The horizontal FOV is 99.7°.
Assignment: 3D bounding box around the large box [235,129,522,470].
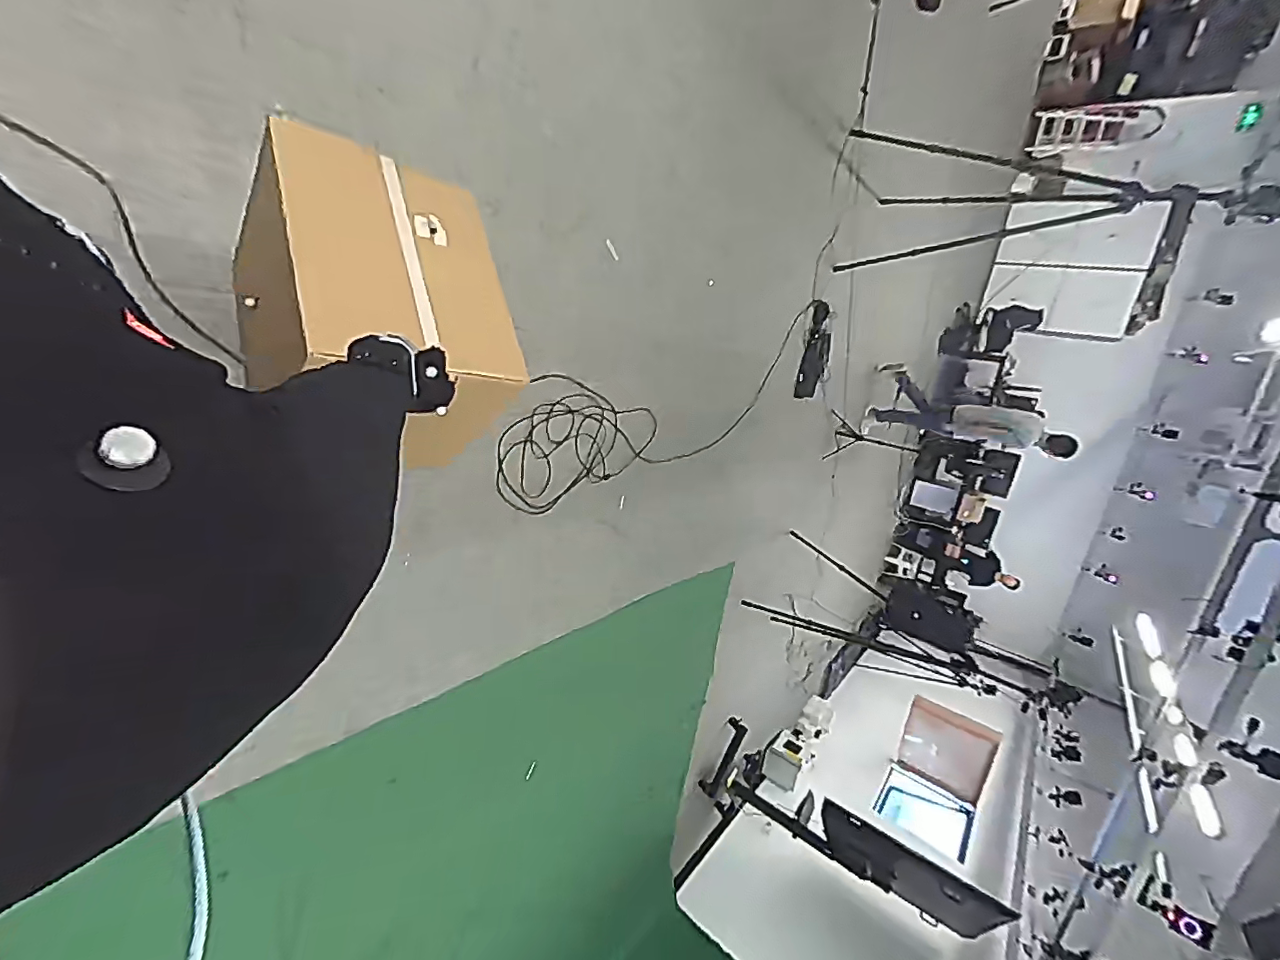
[{"bbox_3d":[-0.455,-0.262,0.913,0.320,0.320,0.408,-1,64,-47],"label":"large box"}]
